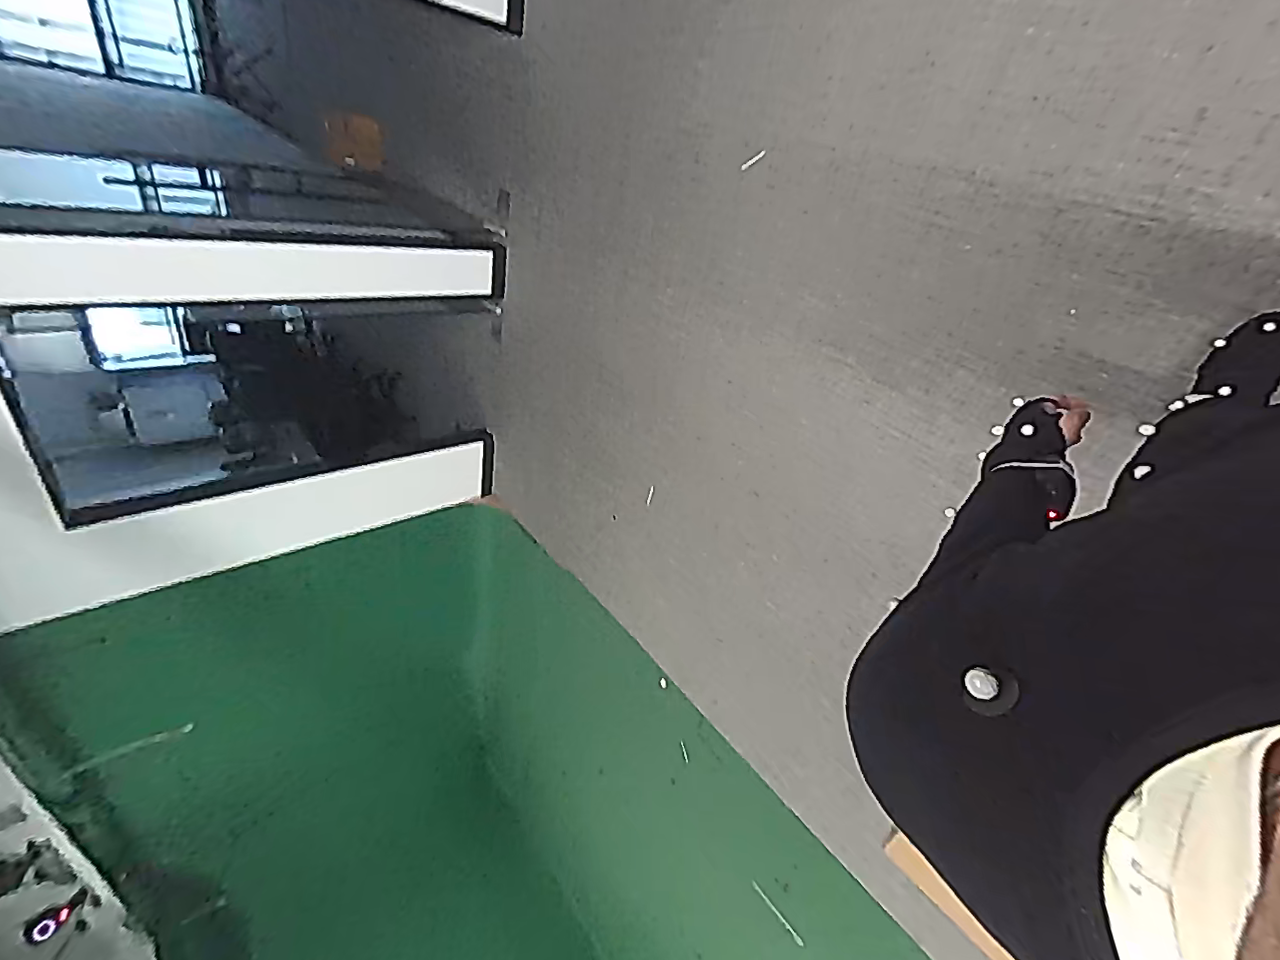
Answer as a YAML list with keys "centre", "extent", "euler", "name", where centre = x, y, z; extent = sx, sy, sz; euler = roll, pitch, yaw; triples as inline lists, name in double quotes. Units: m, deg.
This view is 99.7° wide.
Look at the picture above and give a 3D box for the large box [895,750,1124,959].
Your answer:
- centre: [1.045, 1.089, 1.552]
  extent: [0.408, 0.320, 0.320]
  euler: [38, 129, 36]
  name: "large box"
